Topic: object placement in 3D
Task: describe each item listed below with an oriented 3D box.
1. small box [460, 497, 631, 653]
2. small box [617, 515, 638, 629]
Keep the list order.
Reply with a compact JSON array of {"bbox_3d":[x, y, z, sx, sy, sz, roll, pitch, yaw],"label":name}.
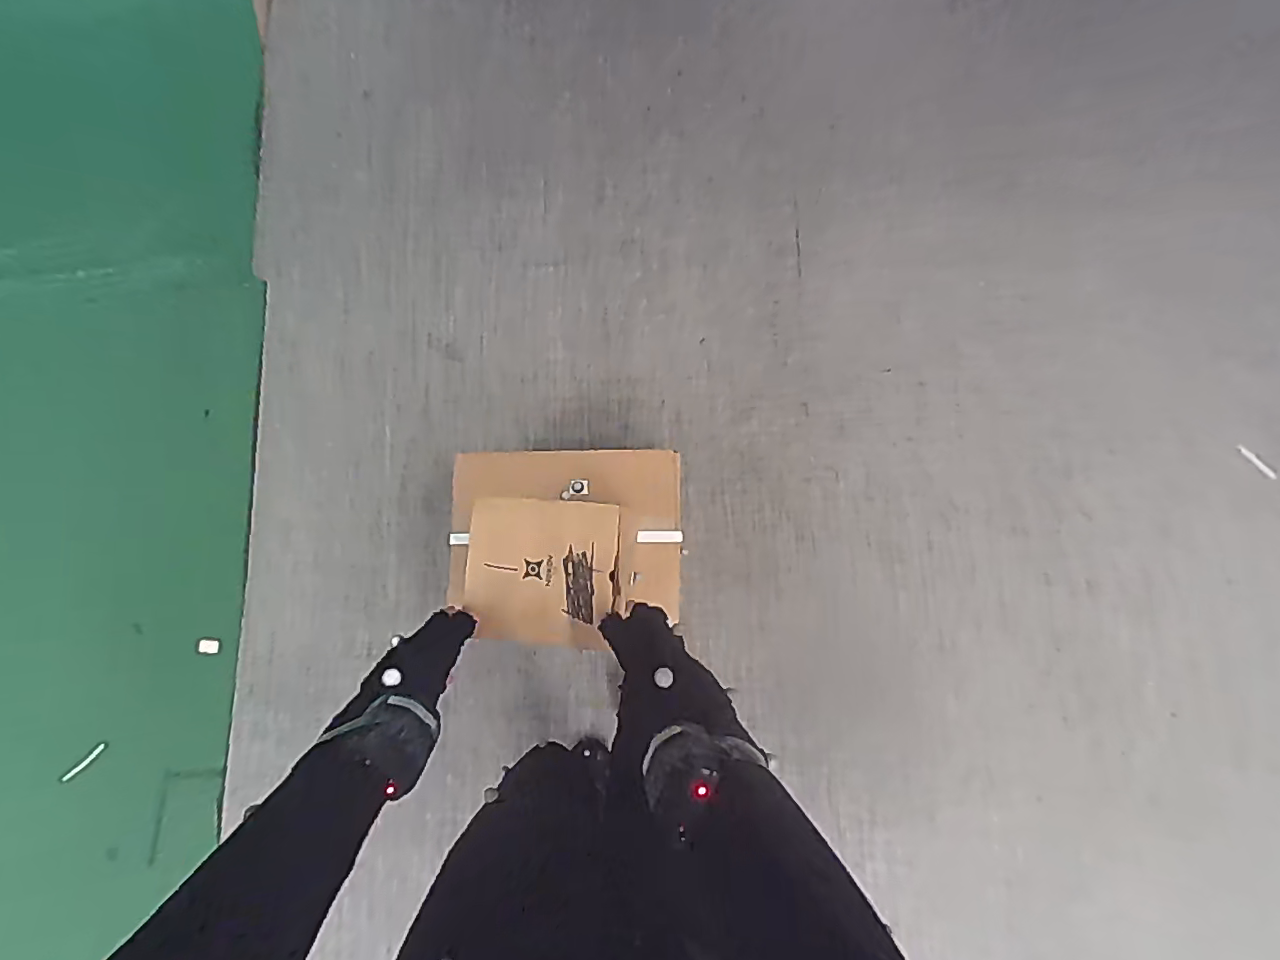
[{"bbox_3d":[-0.108,0.112,0.694,0.179,0.176,0.168,4,85,5],"label":"small box"},{"bbox_3d":[-0.100,0.131,0.857,0.179,0.176,0.168,5,86,3],"label":"small box"}]
